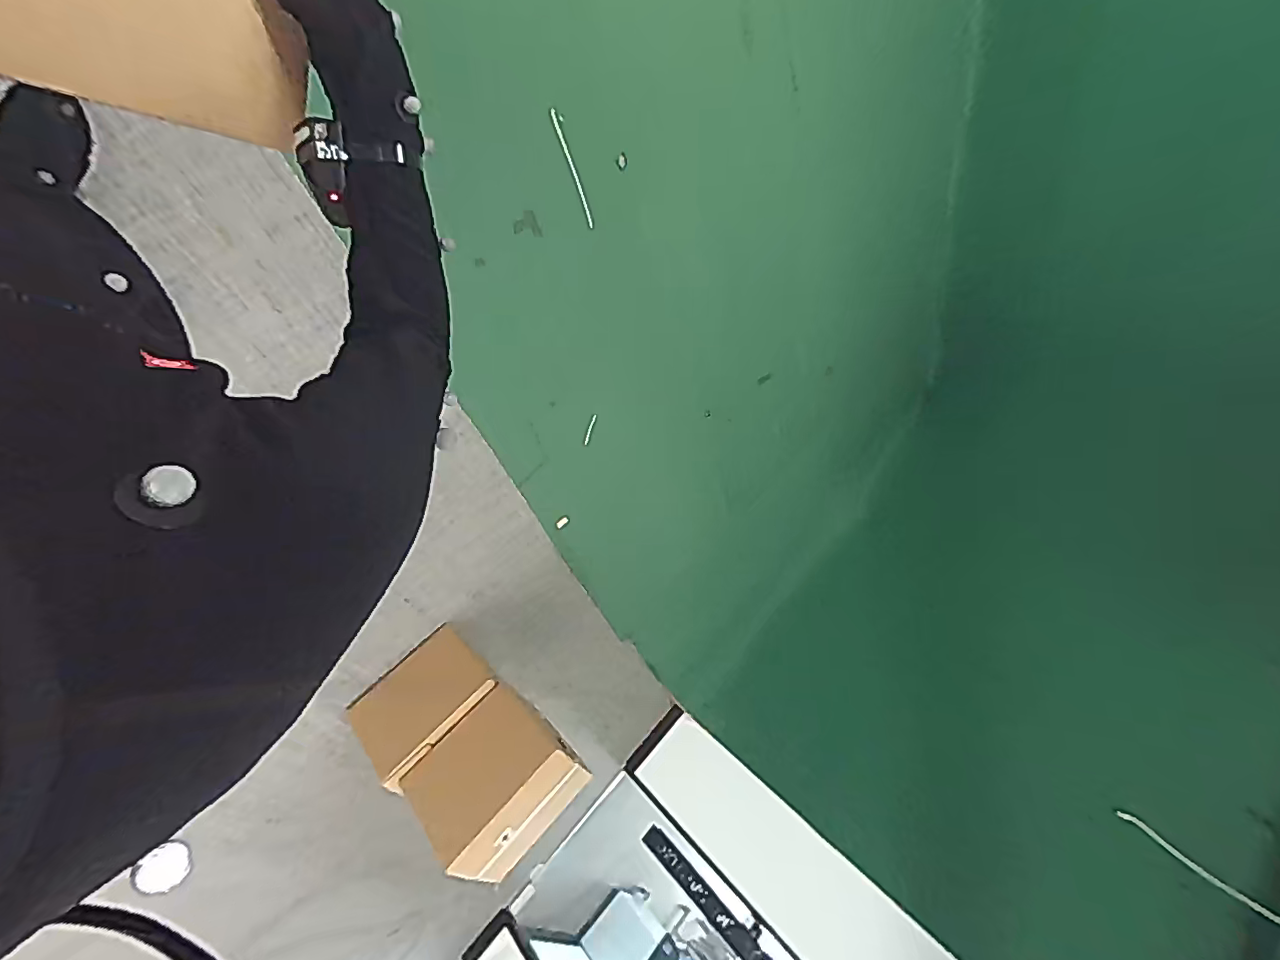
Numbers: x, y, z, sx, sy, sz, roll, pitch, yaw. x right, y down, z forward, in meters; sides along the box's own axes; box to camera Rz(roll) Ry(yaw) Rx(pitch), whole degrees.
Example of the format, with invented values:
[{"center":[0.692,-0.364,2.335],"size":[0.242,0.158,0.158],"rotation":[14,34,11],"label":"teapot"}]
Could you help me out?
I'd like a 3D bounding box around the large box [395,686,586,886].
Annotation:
[{"center":[-0.441,0.922,1.648],"size":[0.408,0.320,0.320],"rotation":[-42,140,-20],"label":"large box"}]
